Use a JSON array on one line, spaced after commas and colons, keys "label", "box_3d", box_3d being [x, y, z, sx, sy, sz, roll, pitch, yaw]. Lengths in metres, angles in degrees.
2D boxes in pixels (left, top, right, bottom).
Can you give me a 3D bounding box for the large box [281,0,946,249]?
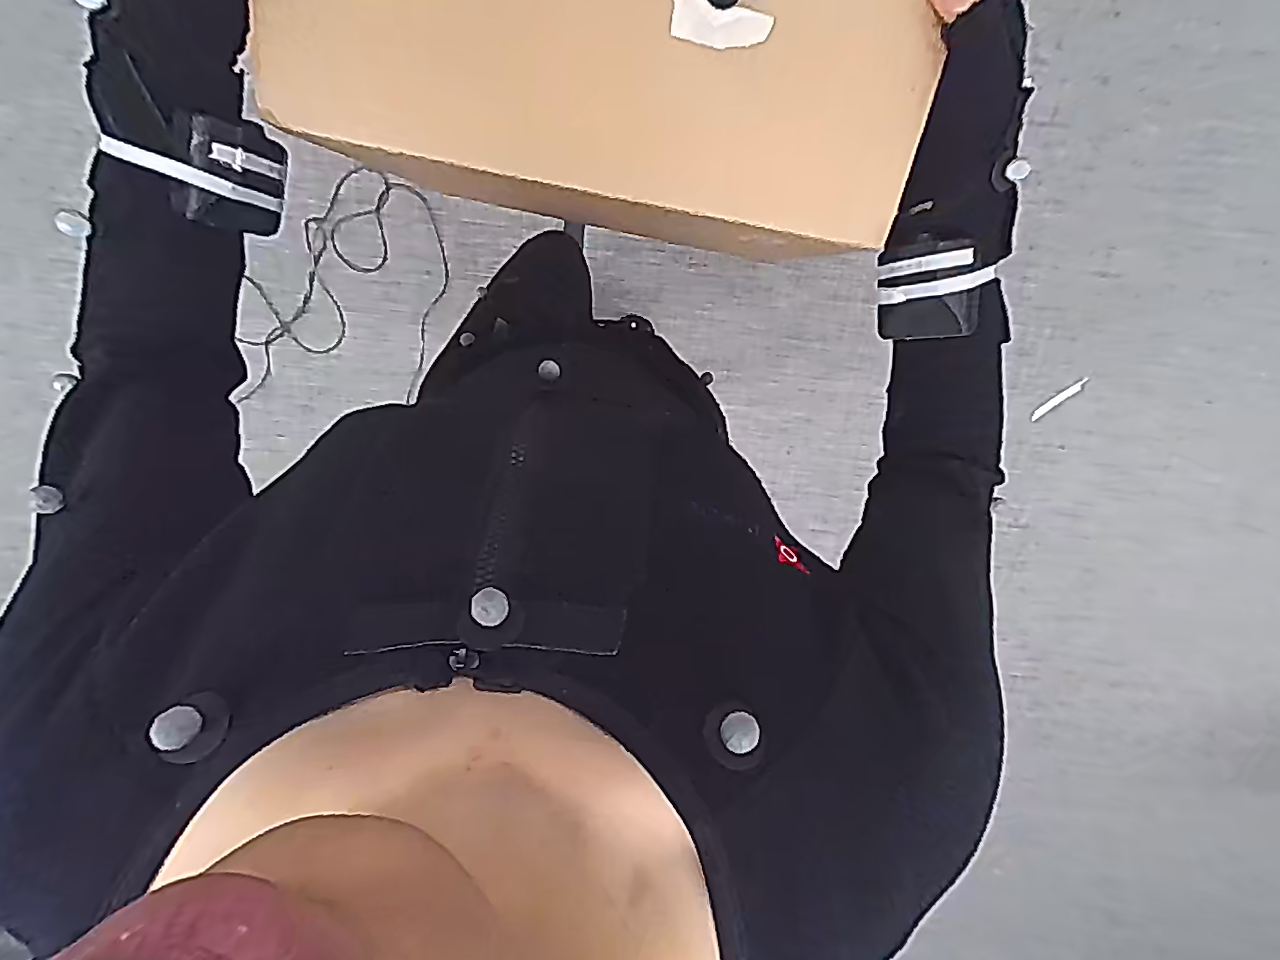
[{"label": "large box", "box_3d": [-0.008, -0.395, 0.446, 0.408, 0.320, 0.320, 9, 111, -4]}]
